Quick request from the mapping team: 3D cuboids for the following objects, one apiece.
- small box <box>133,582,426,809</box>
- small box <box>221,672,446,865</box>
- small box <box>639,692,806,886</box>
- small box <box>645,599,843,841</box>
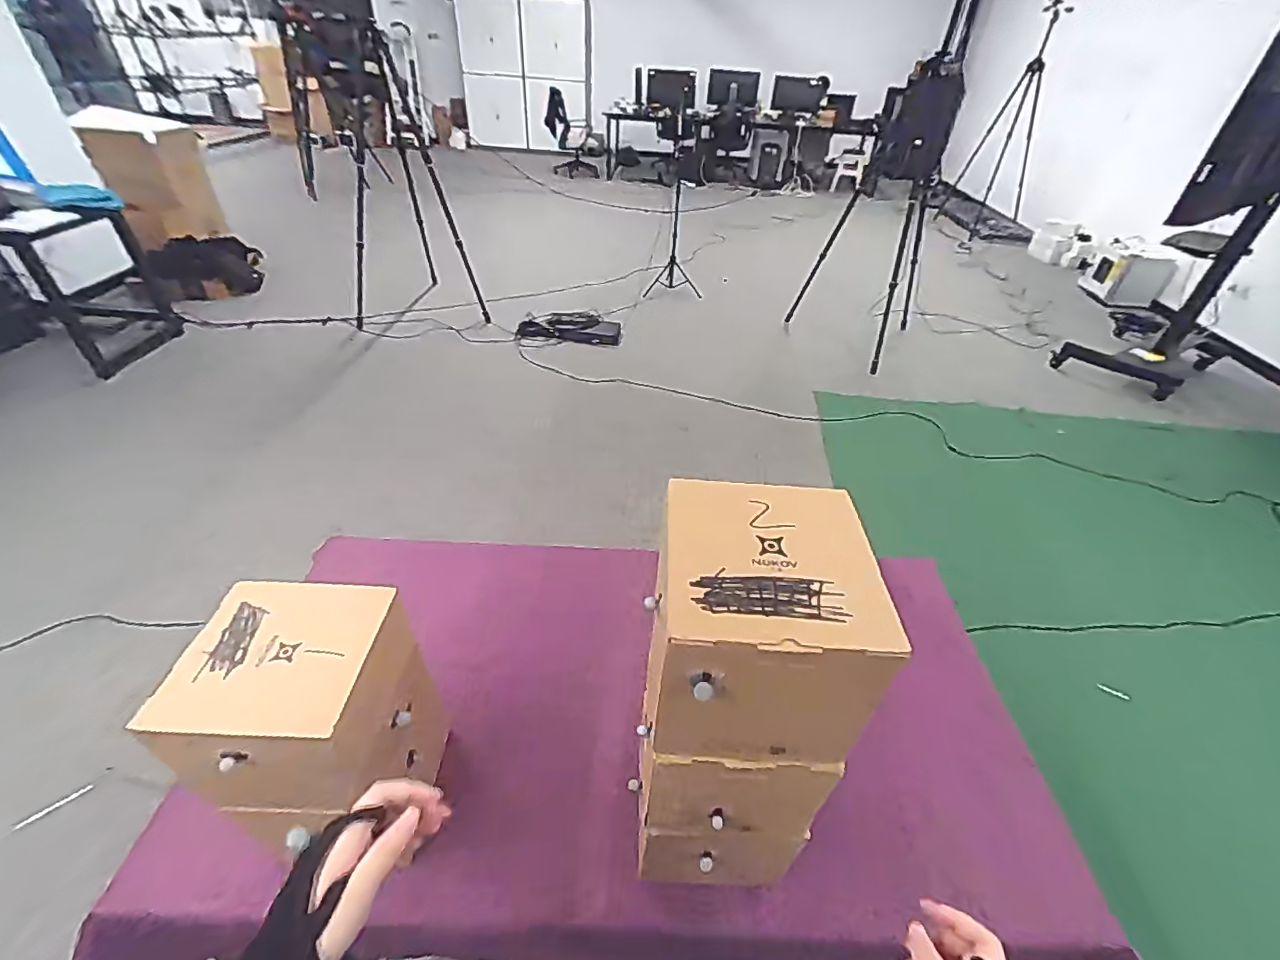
[{"bbox_3d":[-0.352,0.229,0.575,0.179,0.176,0.168,3,39,-1],"label":"small box"},{"bbox_3d":[-0.359,0.356,0.679,0.168,0.176,0.179,4,38,-1],"label":"small box"},{"bbox_3d":[0.088,0.385,0.675,0.179,0.176,0.168,2,39,-1],"label":"small box"},{"bbox_3d":[0.093,0.253,0.578,0.168,0.176,0.179,3,39,0],"label":"small box"}]
